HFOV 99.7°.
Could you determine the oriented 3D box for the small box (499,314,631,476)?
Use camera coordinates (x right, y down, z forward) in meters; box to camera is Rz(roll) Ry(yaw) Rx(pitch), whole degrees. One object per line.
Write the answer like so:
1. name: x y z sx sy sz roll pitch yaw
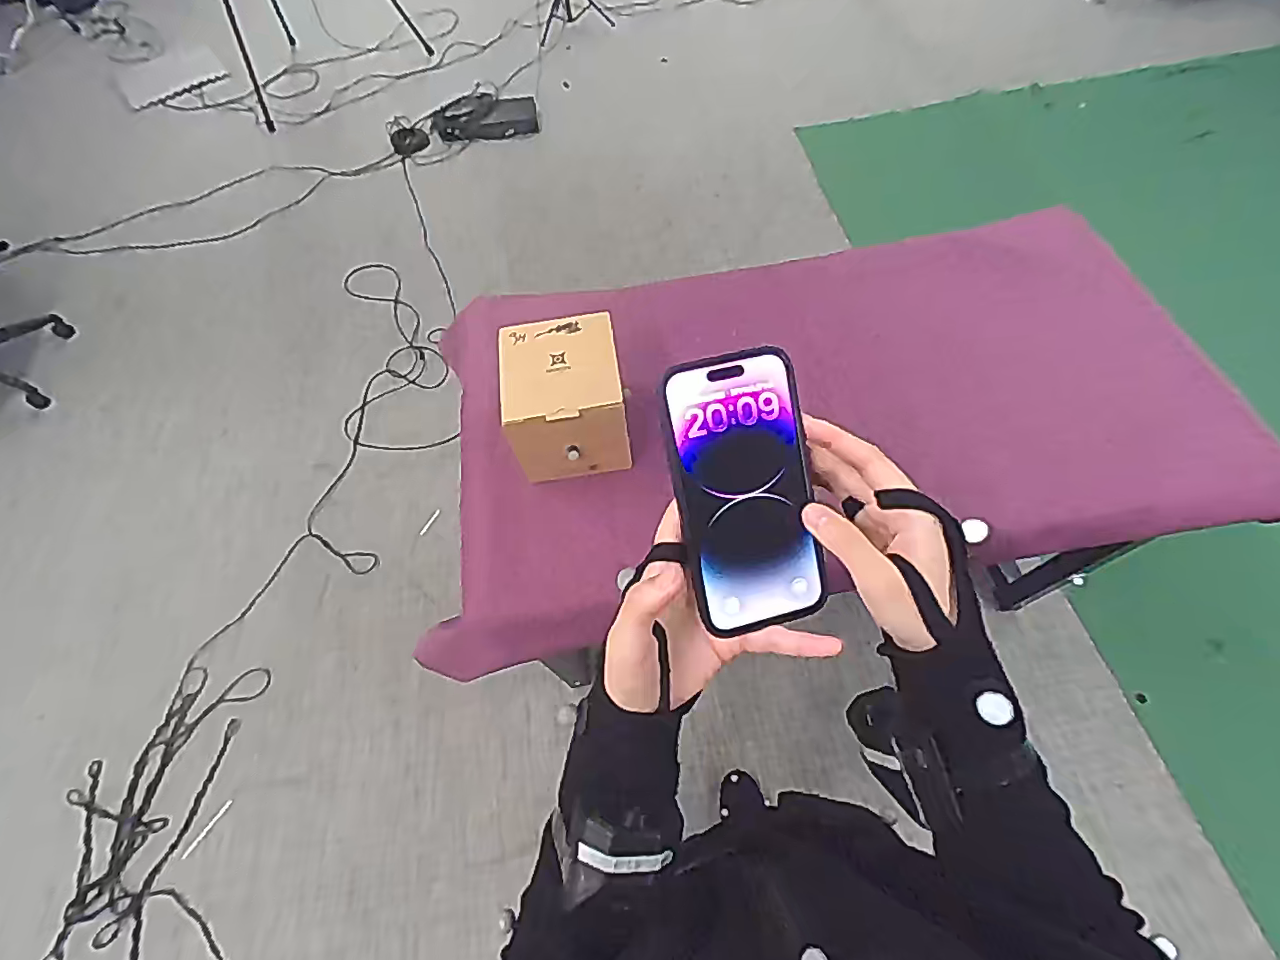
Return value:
1. small box: -0.109 -0.119 0.825 0.168 0.176 0.179 -9 61 0
